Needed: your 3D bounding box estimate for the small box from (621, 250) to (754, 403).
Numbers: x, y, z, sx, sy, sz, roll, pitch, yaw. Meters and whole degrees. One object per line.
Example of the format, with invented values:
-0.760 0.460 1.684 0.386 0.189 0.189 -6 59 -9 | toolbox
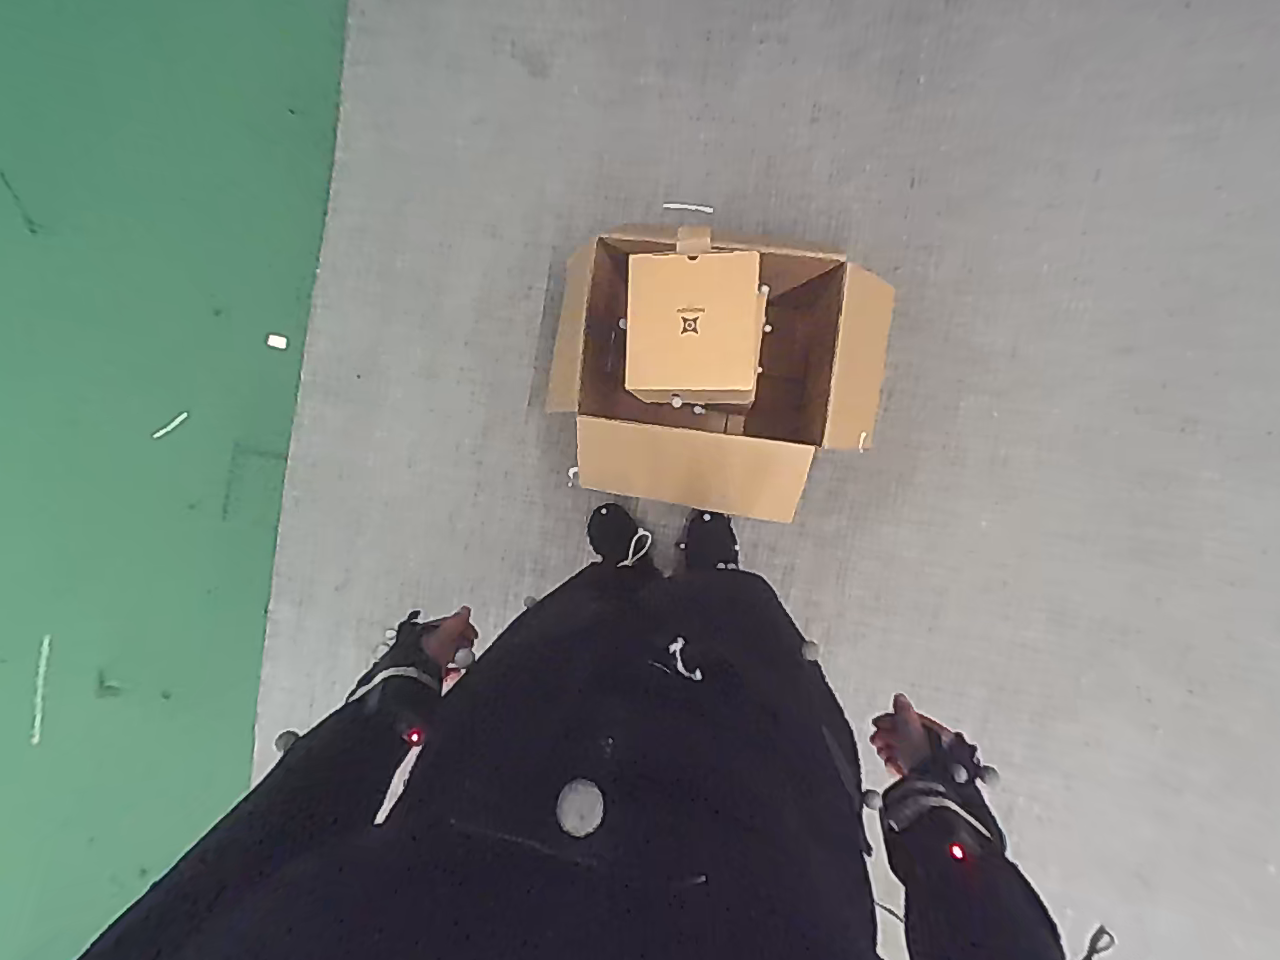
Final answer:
0.072 -0.203 0.763 0.168 0.176 0.179 2 91 9 | small box
